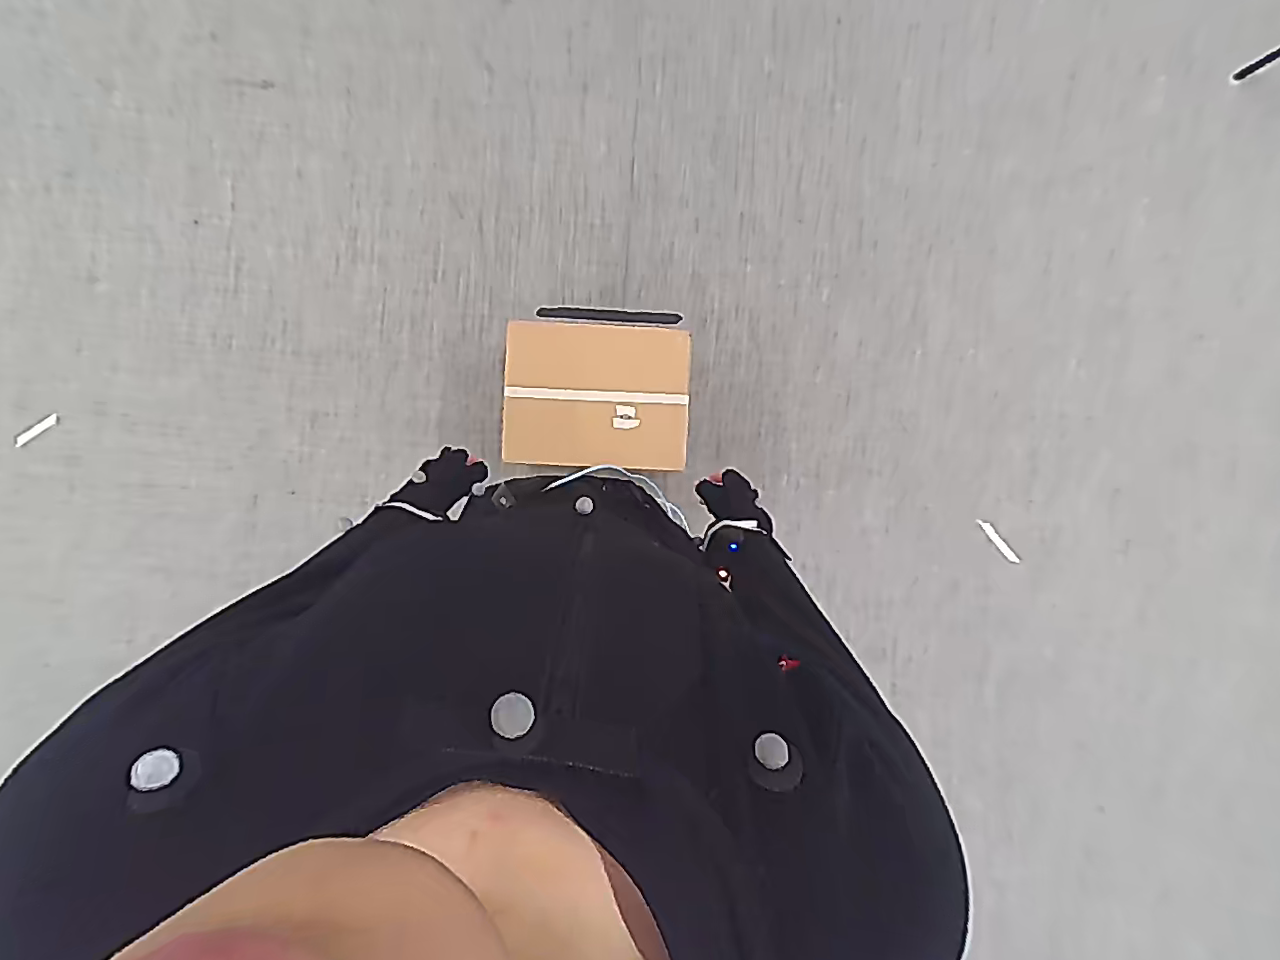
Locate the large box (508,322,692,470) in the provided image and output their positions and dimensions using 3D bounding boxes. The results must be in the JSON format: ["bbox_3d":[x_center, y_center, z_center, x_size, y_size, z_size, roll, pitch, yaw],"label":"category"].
[{"bbox_3d":[-0.095,-0.187,1.344,0.408,0.320,0.320,3,90,-2],"label":"large box"}]
